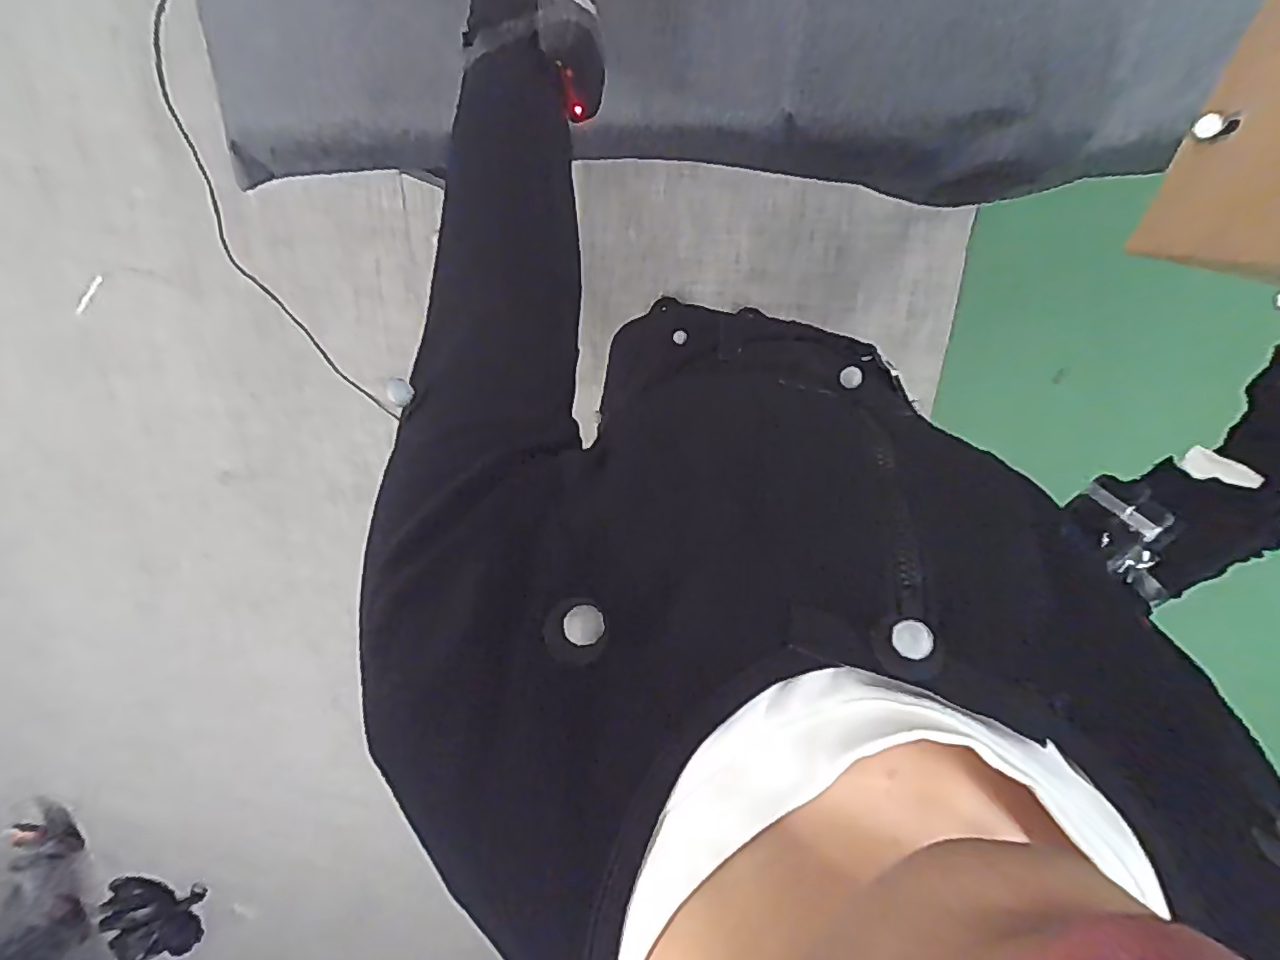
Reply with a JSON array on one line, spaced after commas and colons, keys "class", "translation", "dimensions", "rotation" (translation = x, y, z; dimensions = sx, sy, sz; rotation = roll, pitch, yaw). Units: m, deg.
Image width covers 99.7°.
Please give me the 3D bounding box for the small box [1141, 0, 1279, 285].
[{"class": "small box", "translation": [0.484, -0.211, 0.340], "dimensions": [0.168, 0.176, 0.179], "rotation": [14, 119, 3]}]
